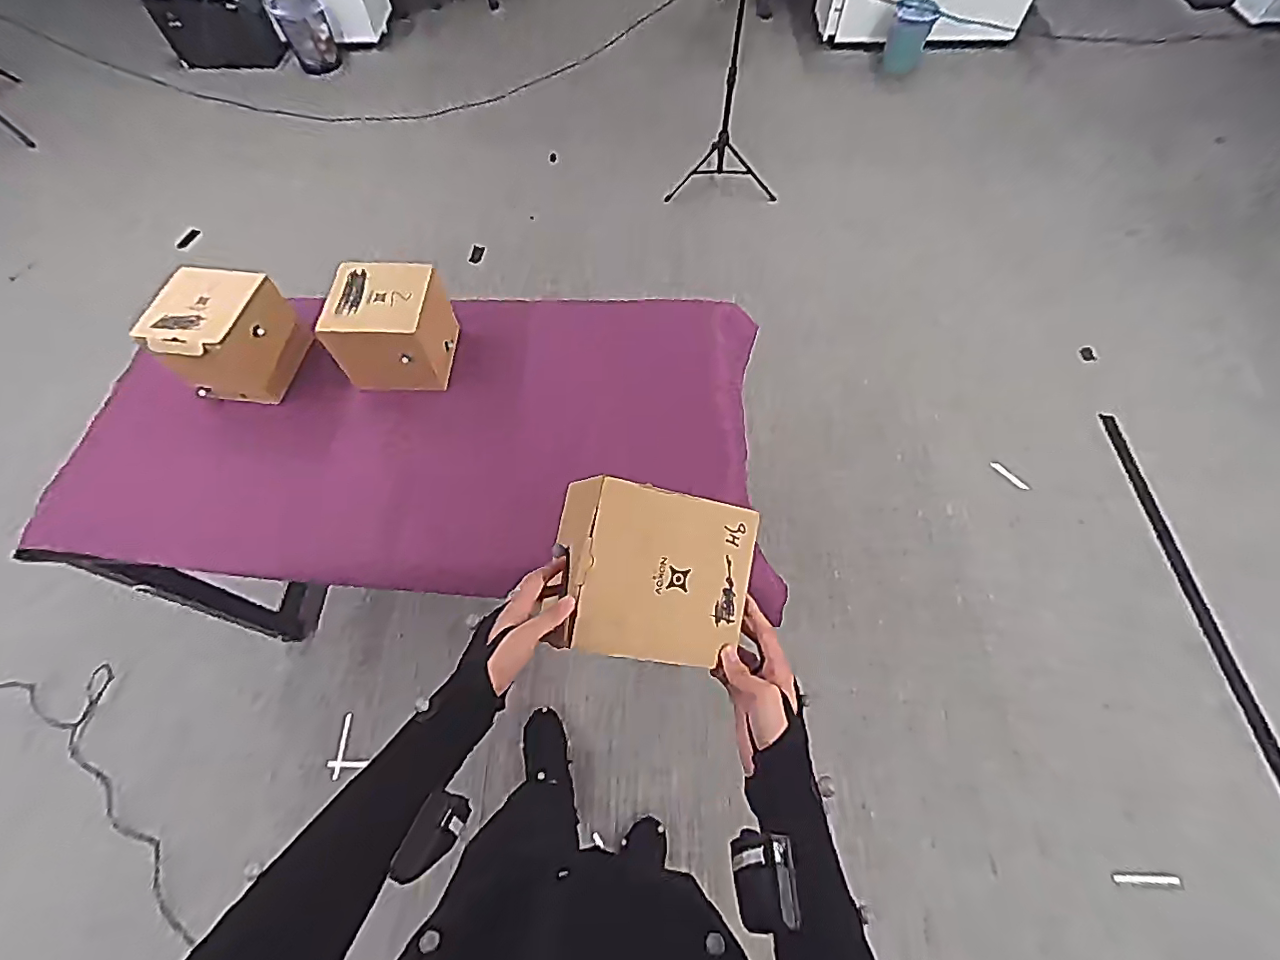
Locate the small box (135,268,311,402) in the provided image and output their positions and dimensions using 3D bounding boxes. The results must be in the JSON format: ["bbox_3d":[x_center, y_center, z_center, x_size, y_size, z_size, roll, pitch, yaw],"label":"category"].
[{"bbox_3d":[-0.761,-0.266,1.013,0.168,0.176,0.179,6,62,3],"label":"small box"}]
